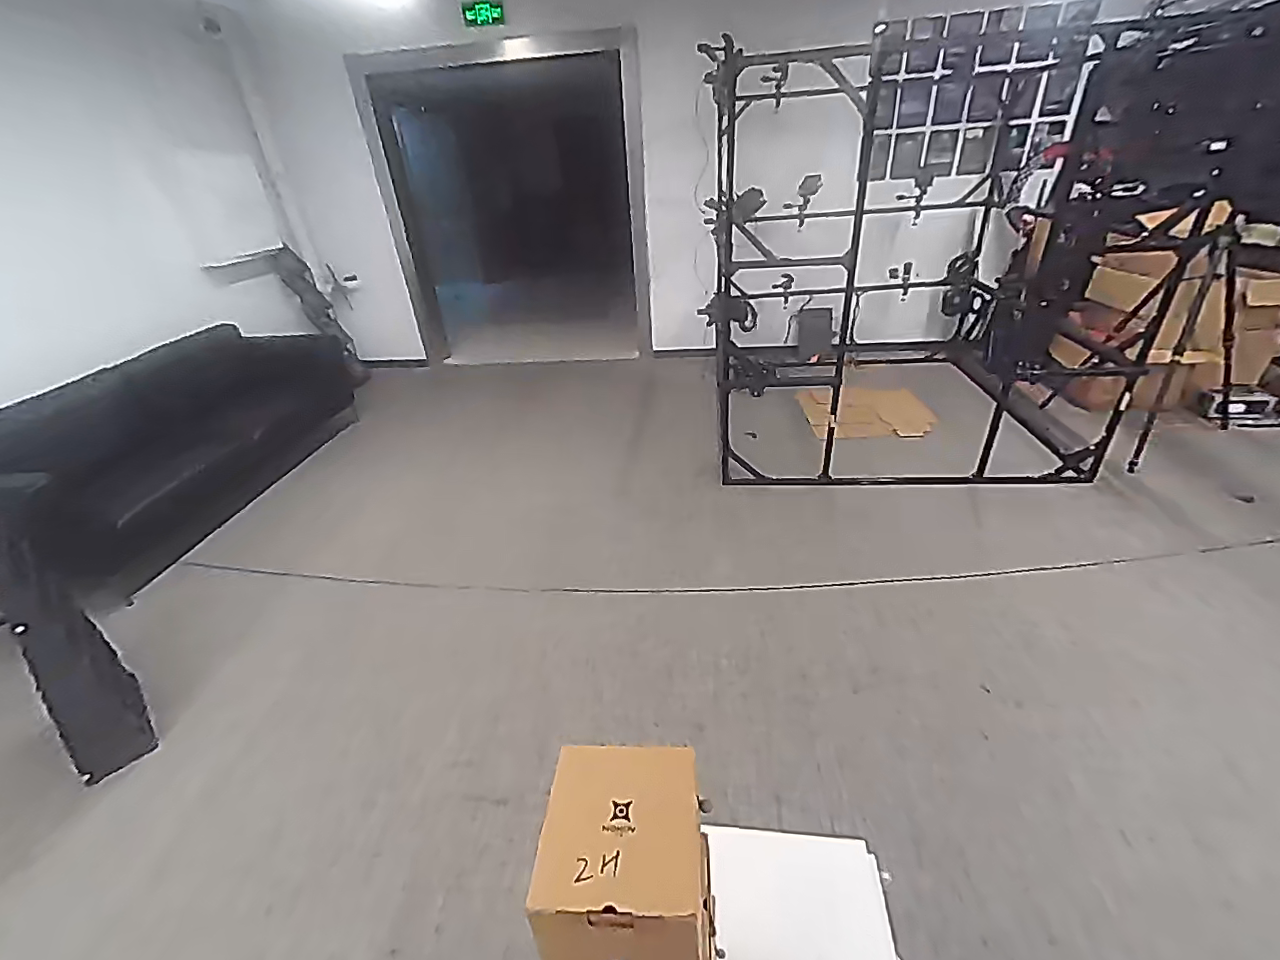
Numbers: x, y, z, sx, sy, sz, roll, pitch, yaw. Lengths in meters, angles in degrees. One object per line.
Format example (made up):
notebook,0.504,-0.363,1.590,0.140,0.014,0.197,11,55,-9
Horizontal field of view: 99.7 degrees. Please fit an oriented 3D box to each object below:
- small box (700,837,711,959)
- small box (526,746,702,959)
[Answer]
small box,0.002,0.582,0.690,0.179,0.176,0.168,-2,29,7
small box,-0.016,0.436,0.615,0.168,0.176,0.179,-2,29,7
